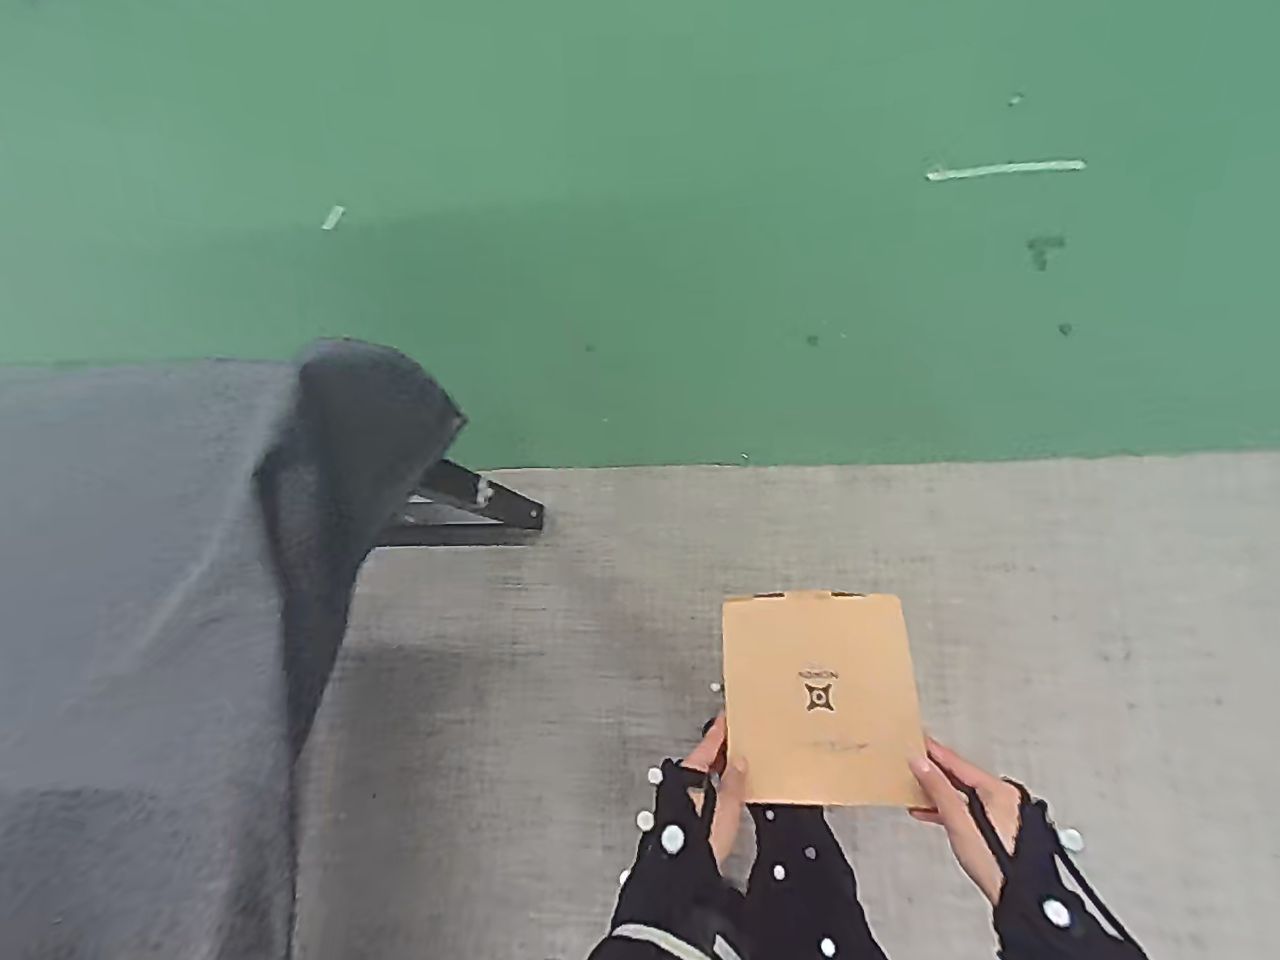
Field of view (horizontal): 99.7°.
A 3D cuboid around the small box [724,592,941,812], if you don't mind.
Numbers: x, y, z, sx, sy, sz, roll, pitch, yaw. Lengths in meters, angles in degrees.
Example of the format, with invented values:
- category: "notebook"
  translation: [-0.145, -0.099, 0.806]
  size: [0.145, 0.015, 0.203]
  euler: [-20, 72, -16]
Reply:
- category: "small box"
  translation: [0.170, 0.217, 0.544]
  size: [0.168, 0.176, 0.179]
  euler: [-3, 68, 8]
